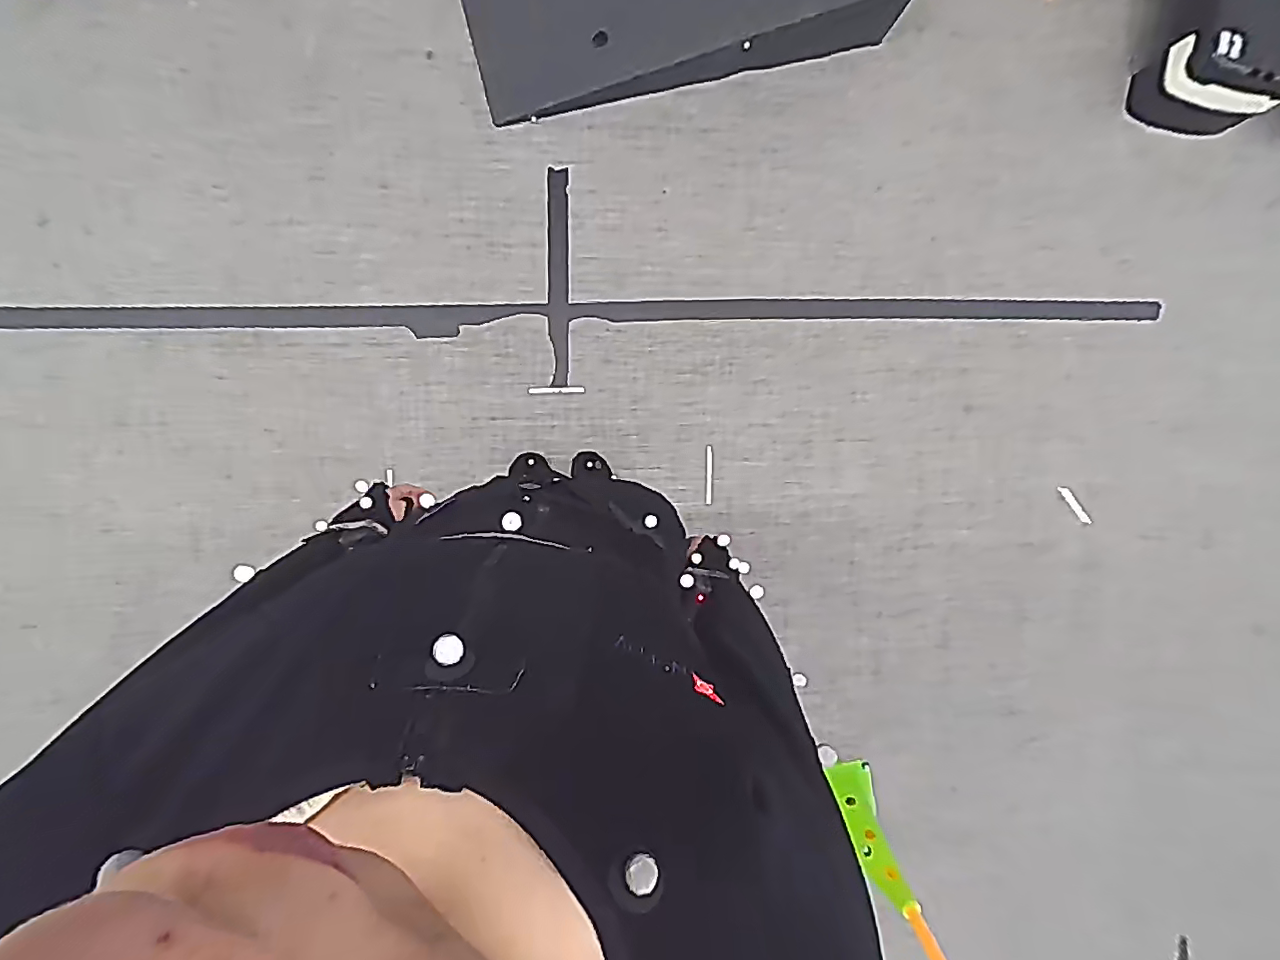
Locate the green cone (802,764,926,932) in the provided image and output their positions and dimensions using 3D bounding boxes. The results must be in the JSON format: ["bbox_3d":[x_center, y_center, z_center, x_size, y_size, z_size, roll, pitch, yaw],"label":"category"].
[{"bbox_3d":[0.556,0.895,1.296,0.200,0.368,0.202,-11,97,-3],"label":"green cone"}]
